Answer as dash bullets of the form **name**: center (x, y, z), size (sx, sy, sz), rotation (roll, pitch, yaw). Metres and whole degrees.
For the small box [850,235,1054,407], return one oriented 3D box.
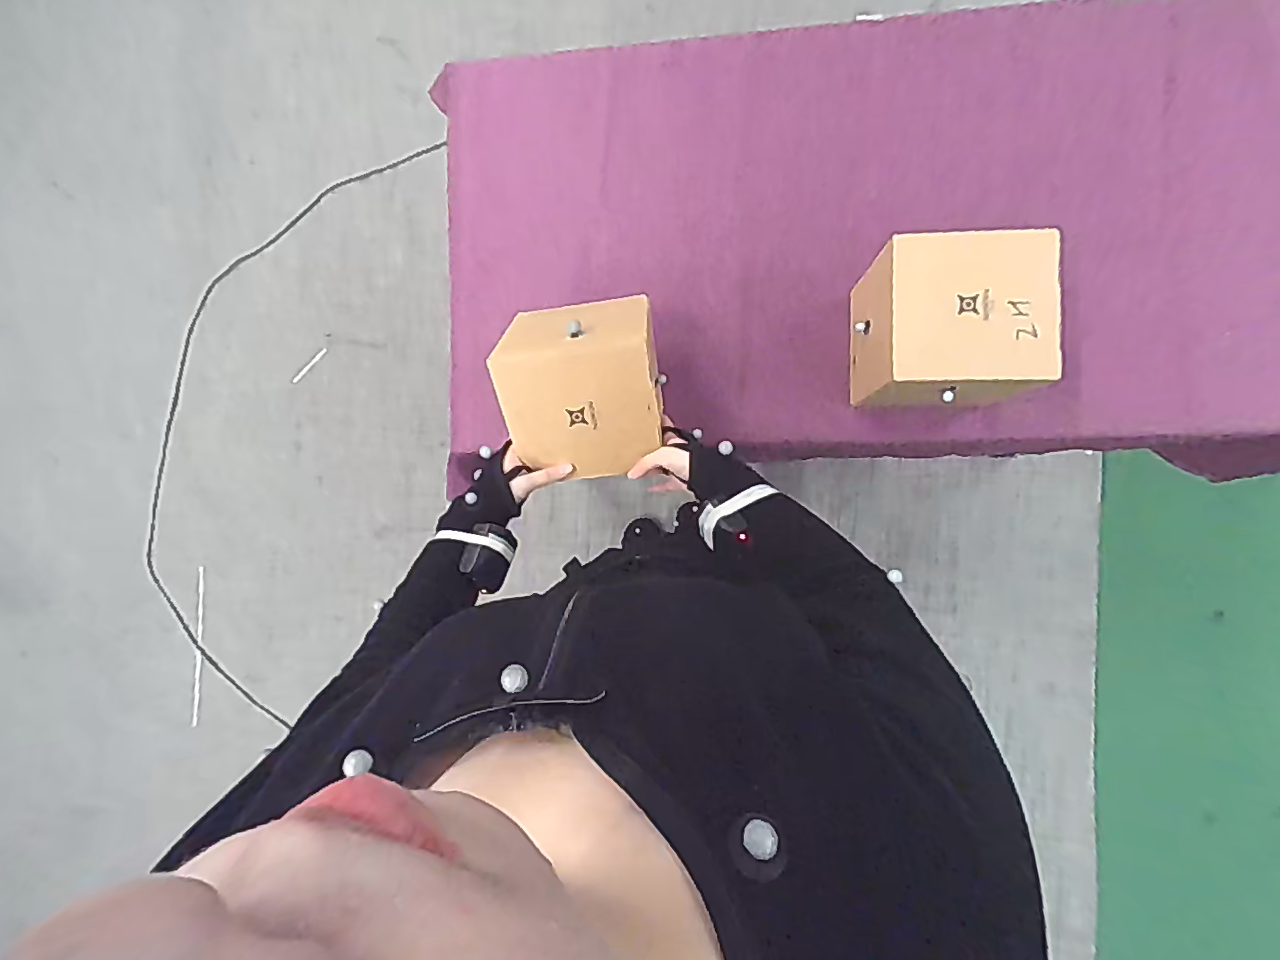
- **small box**: center (0.371, -0.185, 0.675), size (0.179, 0.176, 0.168), rotation (1, 89, 5)

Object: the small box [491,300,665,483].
- **small box**: center (-0.065, -0.116, 0.683), size (0.179, 0.176, 0.168), rotation (-7, 122, 4)
